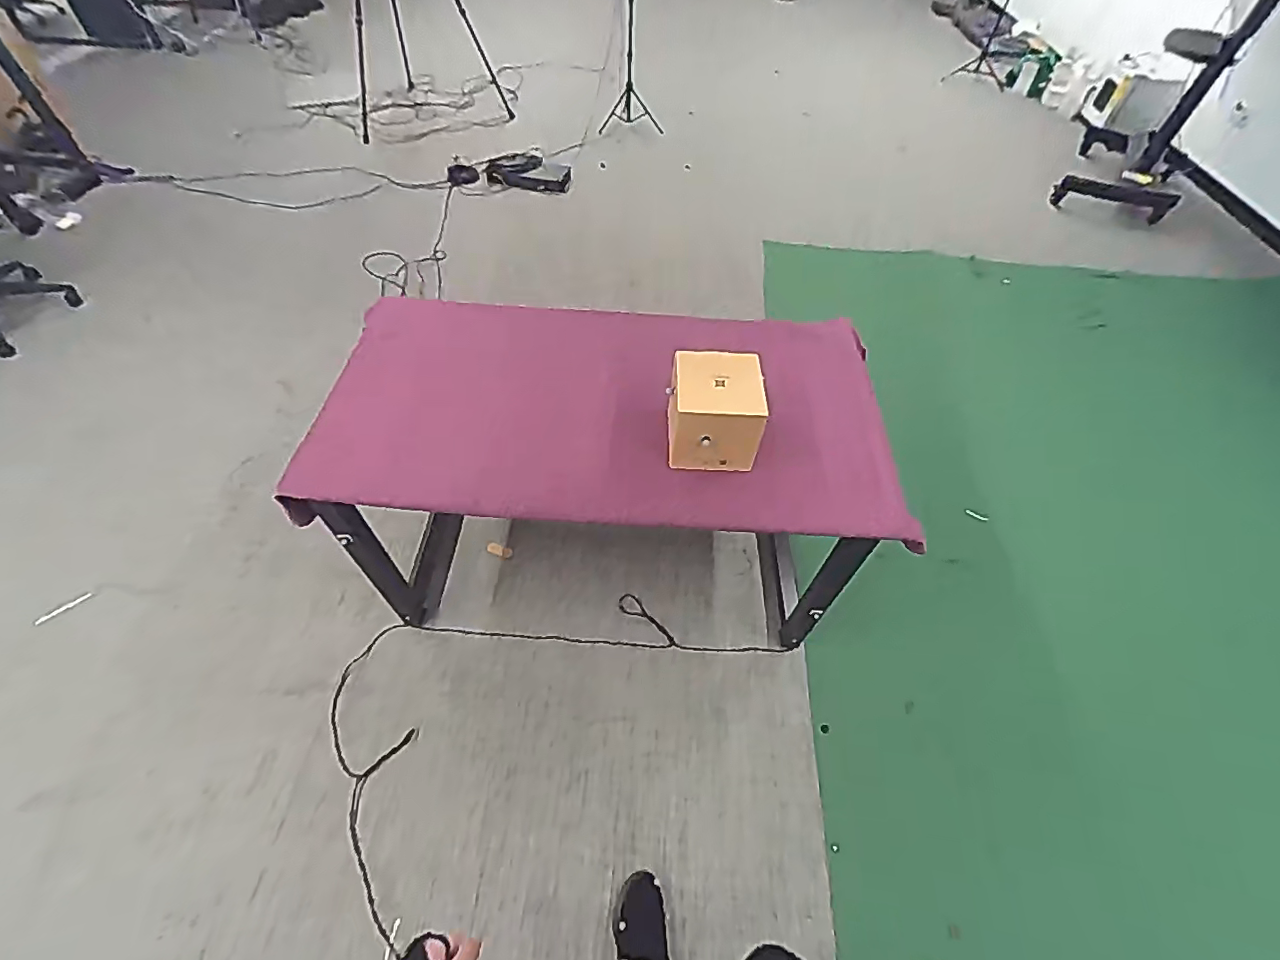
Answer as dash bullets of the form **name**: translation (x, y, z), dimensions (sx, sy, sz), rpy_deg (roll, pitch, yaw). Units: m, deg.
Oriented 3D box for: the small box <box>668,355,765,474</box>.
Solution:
- **small box**: translation (0.146, -0.128, 1.083), dimensions (0.168, 0.176, 0.179), rpy_deg (2, 52, -1)
